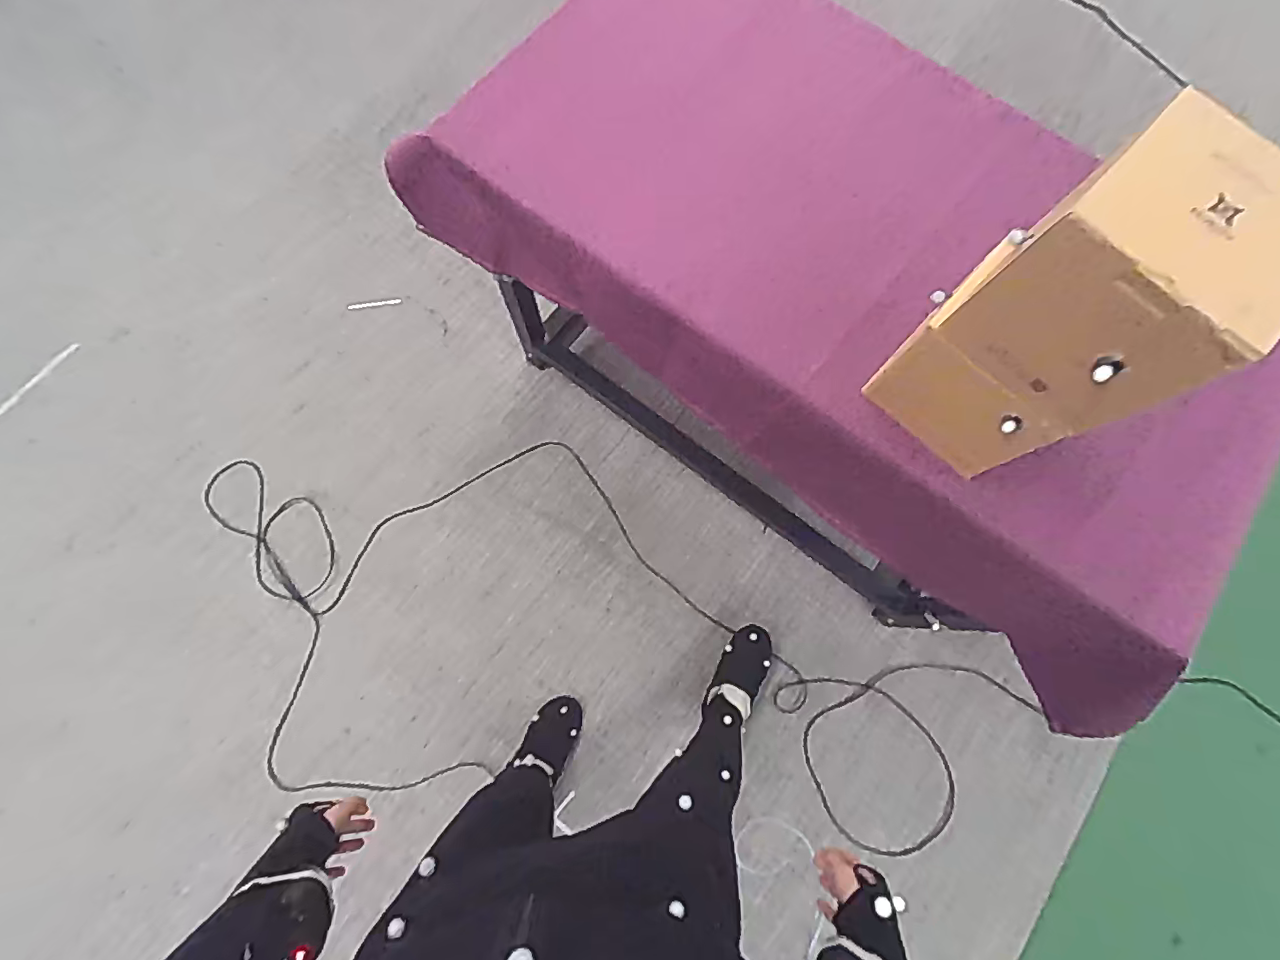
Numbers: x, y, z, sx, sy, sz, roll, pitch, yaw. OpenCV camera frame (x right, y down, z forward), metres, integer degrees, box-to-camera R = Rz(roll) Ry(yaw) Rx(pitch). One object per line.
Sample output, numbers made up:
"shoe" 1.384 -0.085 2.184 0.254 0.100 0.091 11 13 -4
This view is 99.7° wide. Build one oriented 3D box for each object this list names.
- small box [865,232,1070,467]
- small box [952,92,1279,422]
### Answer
"small box" 0.408 -0.141 0.641 0.179 0.176 0.168 43 78 8
"small box" 0.423 -0.180 0.484 0.179 0.176 0.168 -43 82 -13
